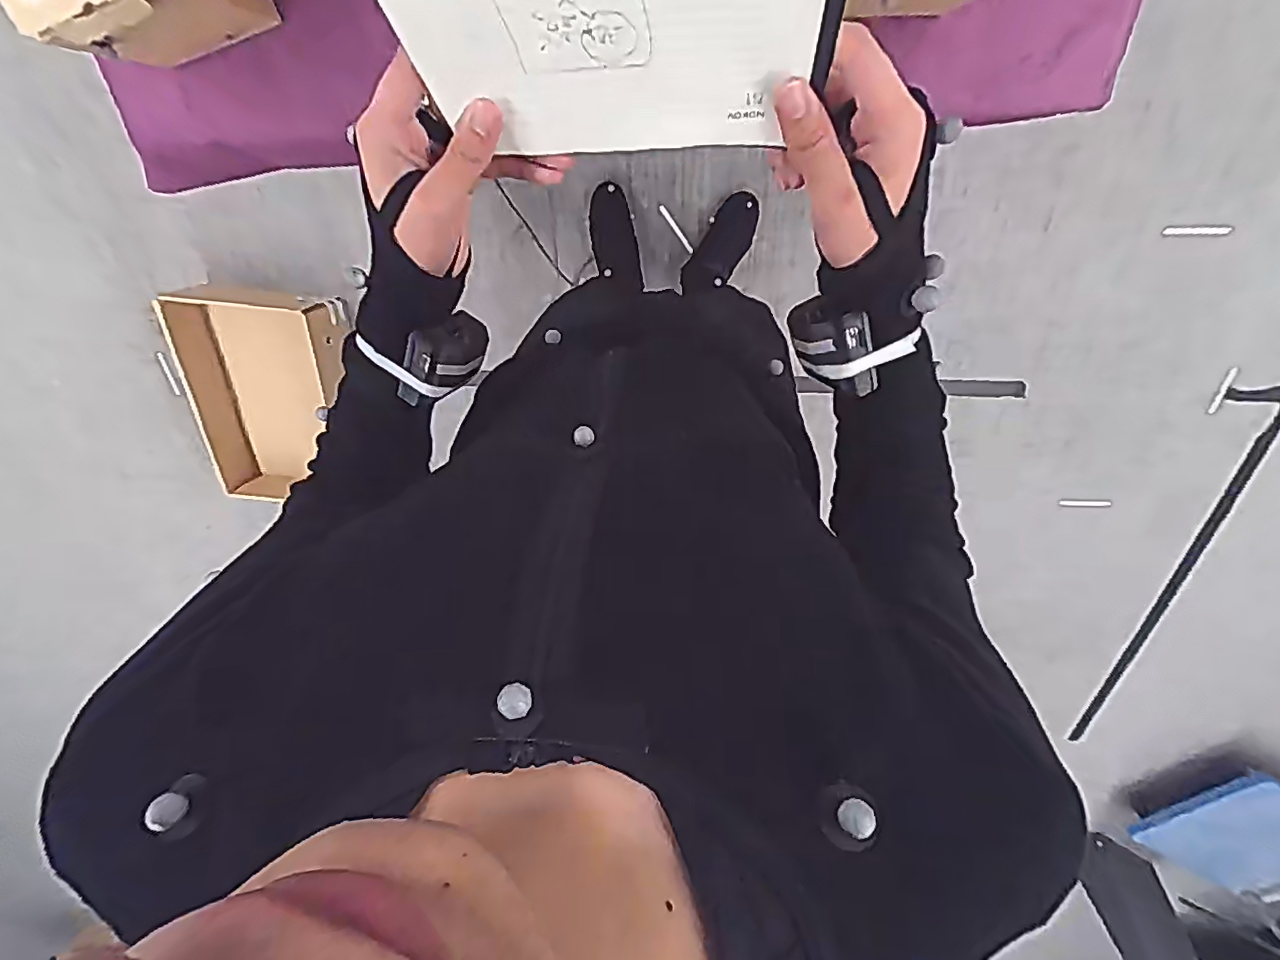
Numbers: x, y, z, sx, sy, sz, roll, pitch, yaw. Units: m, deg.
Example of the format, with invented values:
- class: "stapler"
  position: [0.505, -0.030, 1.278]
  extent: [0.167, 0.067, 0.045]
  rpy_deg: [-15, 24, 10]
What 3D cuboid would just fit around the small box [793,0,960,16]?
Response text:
- class: "small box"
  position: [0.245, -0.539, 0.484]
  extent: [0.179, 0.176, 0.168]
  rpy_deg: [2, 121, 3]
